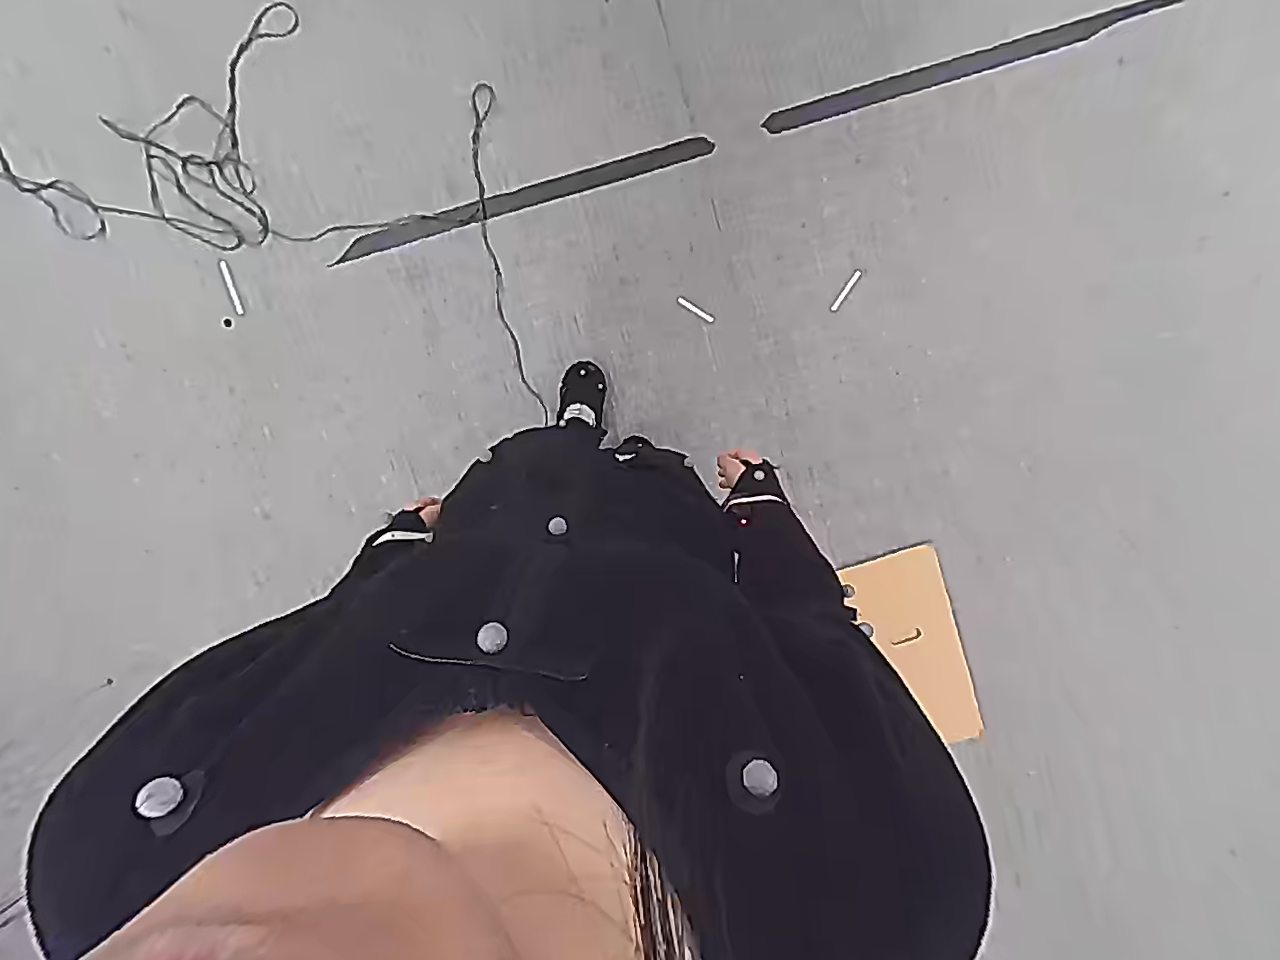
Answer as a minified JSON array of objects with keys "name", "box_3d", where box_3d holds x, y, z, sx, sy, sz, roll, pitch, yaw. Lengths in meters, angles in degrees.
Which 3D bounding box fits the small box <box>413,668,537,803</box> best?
[{"name":"small box","box_3d":[-0.343,0.537,1.164,0.179,0.176,0.168,31,95,-3]}]
